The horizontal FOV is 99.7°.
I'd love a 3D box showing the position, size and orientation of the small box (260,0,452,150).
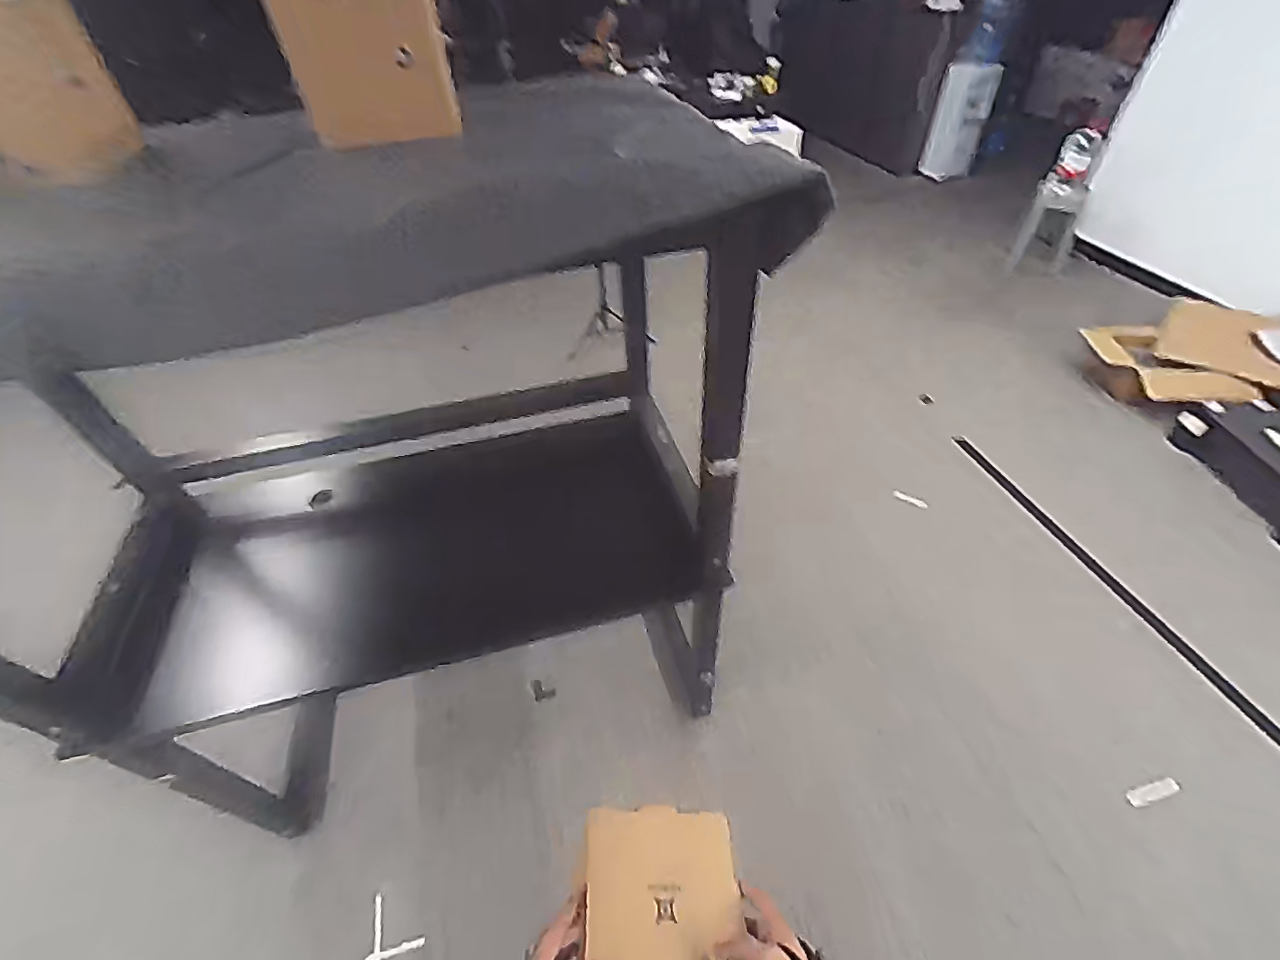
[{"bbox_3d":[-0.356,-0.558,0.716,0.179,0.176,0.168,-11,45,-8],"label":"small box"}]
